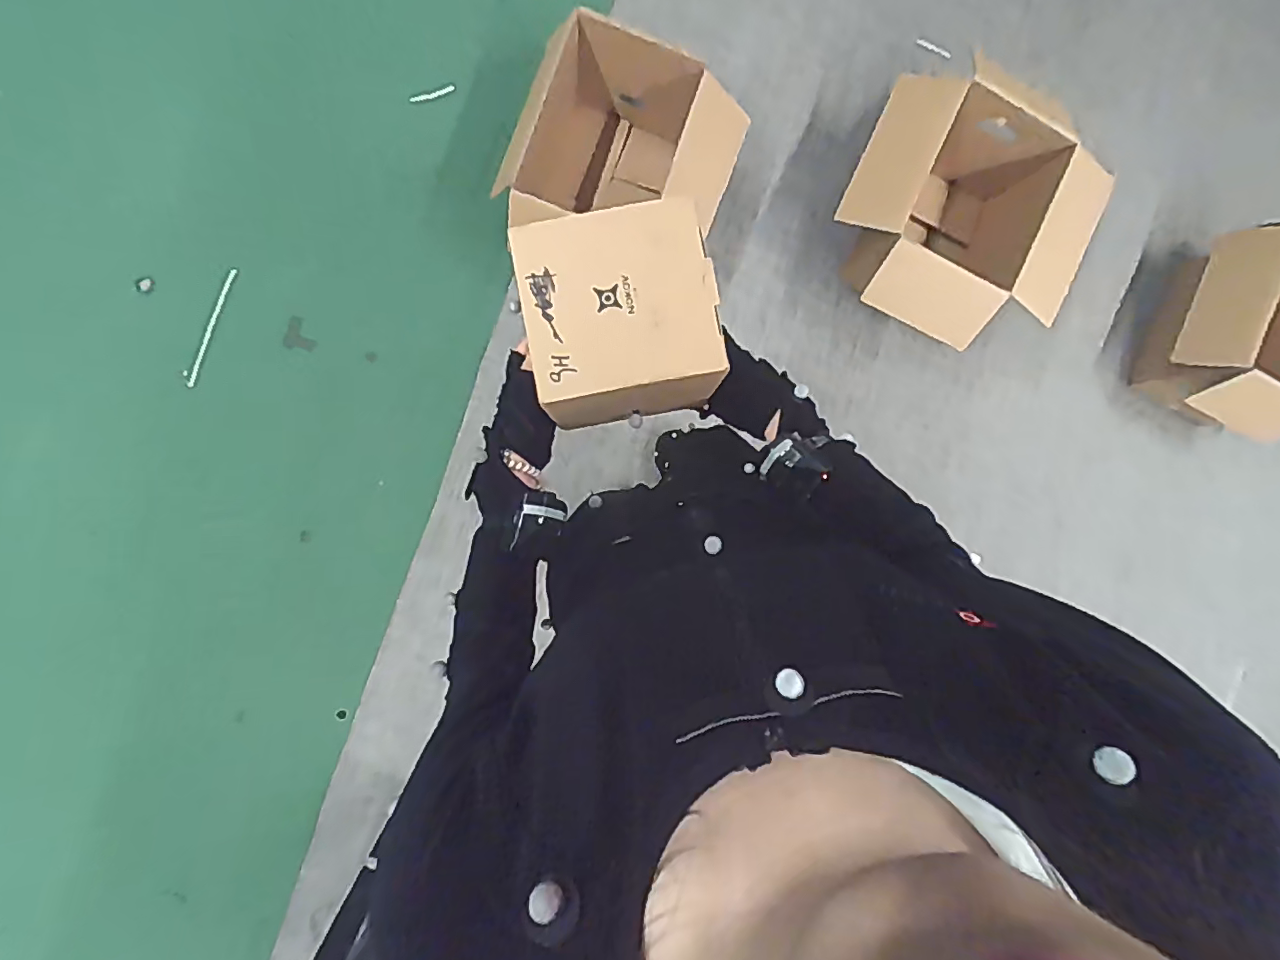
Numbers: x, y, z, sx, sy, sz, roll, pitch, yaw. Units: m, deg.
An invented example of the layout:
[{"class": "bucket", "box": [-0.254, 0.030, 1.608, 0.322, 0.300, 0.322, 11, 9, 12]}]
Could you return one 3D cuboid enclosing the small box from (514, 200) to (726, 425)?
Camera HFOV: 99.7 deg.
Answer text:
[{"class": "small box", "box": [-0.022, -0.161, 0.572, 0.179, 0.176, 0.168, -10, 87, -2]}]
